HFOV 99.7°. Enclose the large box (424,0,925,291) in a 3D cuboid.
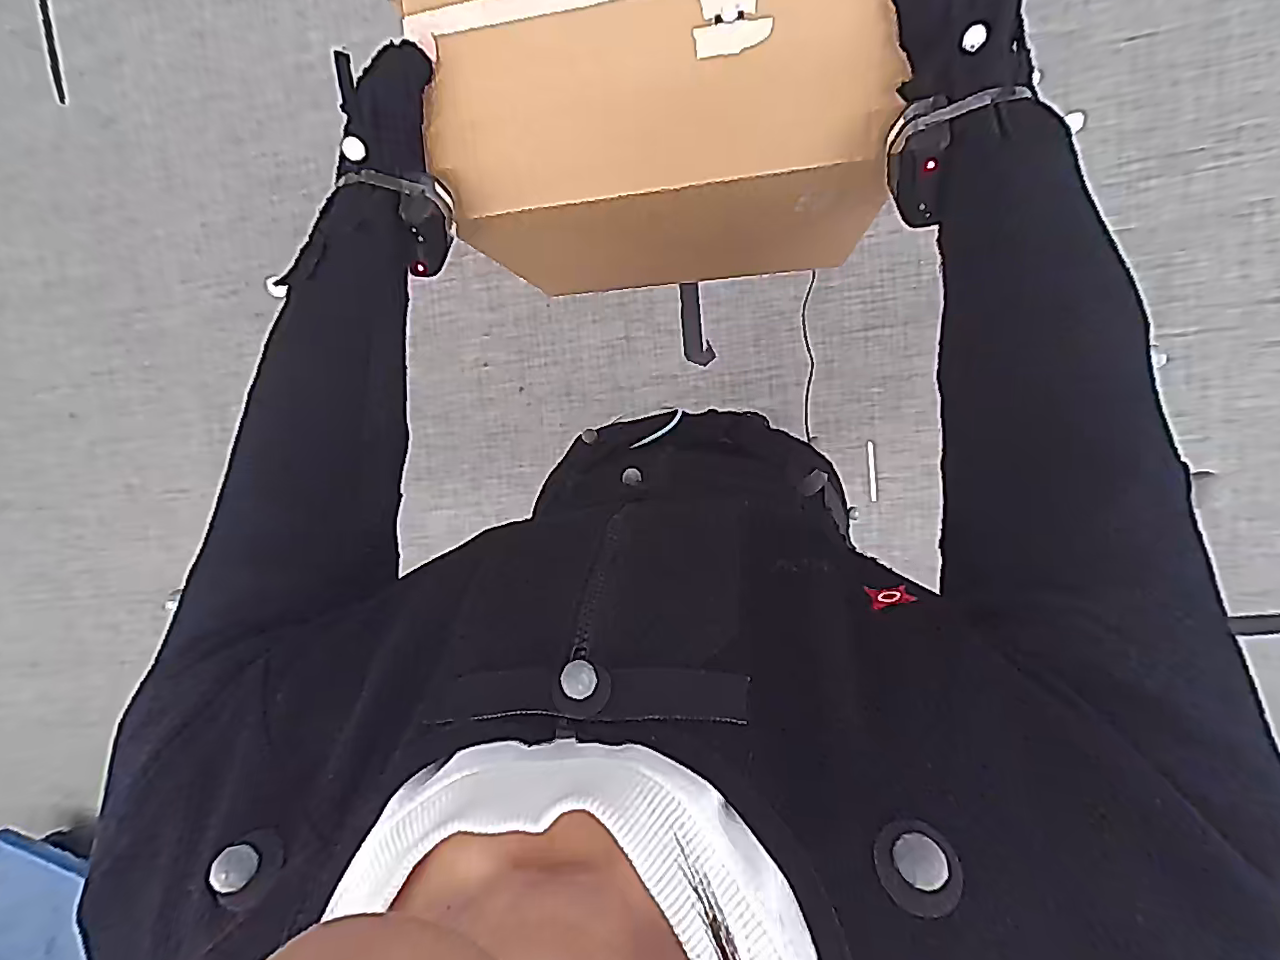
[{"bbox_3d":[0.034,-0.415,0.578,0.408,0.320,0.320,-3,97,10],"label":"large box"}]
